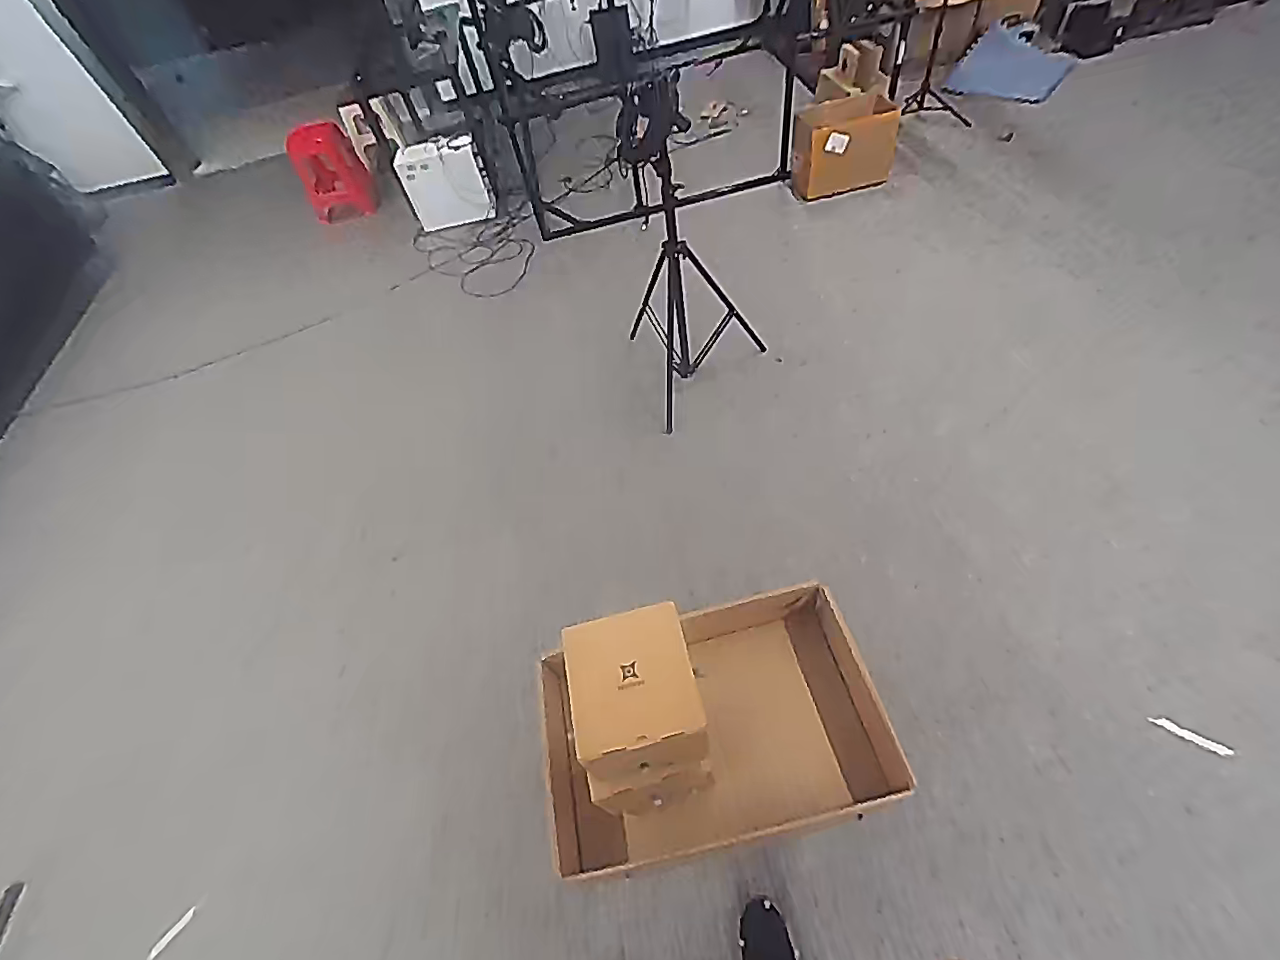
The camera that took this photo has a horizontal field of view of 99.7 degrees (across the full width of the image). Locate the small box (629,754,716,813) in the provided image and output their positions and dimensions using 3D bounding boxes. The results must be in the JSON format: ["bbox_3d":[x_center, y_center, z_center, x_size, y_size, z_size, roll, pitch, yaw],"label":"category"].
[{"bbox_3d":[0.035,0.507,1.023,0.179,0.176,0.168,-19,53,-4],"label":"small box"}]

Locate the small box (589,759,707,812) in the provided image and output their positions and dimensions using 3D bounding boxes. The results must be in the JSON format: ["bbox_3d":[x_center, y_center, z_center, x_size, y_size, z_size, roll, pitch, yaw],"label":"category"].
[{"bbox_3d":[0.004,0.419,0.889,0.168,0.176,0.179,-17,53,-3],"label":"small box"}]

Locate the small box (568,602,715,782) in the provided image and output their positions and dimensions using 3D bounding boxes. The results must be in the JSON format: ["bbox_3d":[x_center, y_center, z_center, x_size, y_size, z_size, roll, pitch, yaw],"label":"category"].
[{"bbox_3d":[0.004,0.304,0.769,0.168,0.176,0.179,-15,52,-2],"label":"small box"}]
